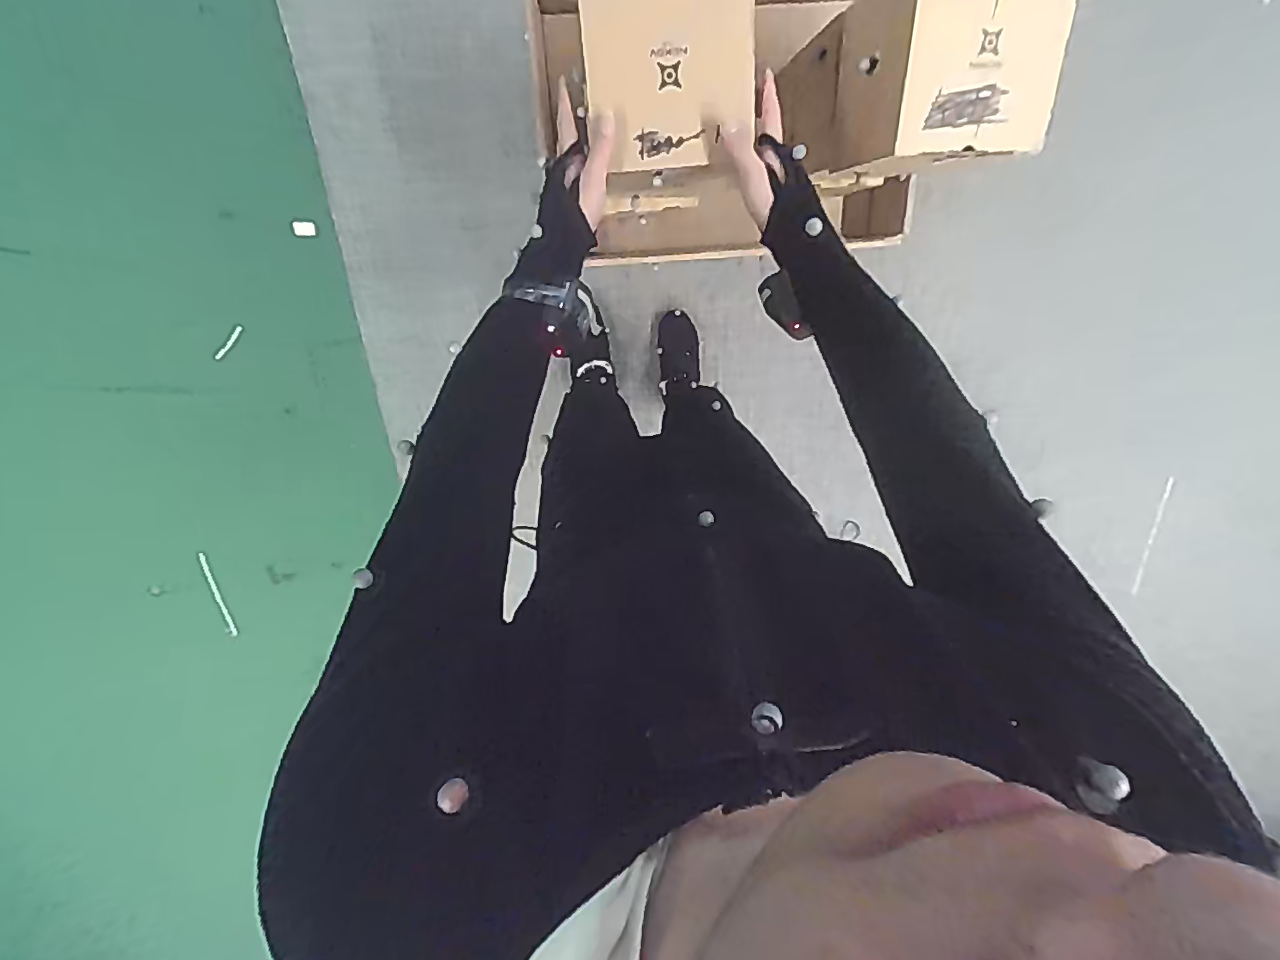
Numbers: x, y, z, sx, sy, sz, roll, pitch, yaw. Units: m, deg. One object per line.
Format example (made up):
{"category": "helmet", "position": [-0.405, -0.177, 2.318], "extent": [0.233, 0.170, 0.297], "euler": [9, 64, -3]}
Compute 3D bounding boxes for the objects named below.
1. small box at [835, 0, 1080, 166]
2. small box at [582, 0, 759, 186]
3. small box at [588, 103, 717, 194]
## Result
{"category": "small box", "position": [0.334, -0.458, 0.602], "extent": [0.168, 0.176, 0.179], "euler": [-3, 113, -5]}
{"category": "small box", "position": [0.026, -0.434, 0.587], "extent": [0.168, 0.176, 0.179], "euler": [-6, 112, -2]}
{"category": "small box", "position": [0.013, -0.499, 0.737], "extent": [0.168, 0.176, 0.179], "euler": [-2, 113, -3]}
